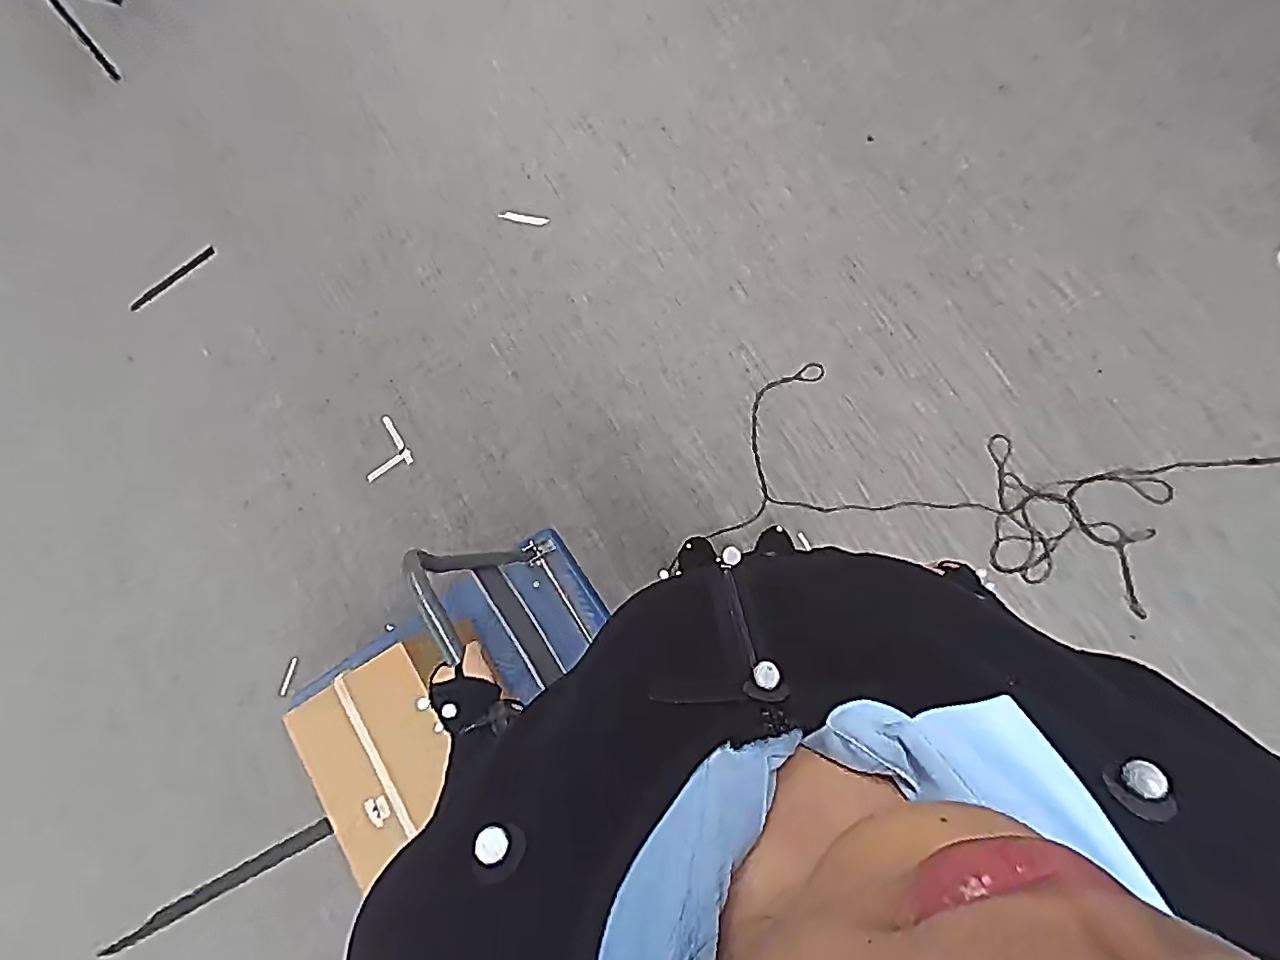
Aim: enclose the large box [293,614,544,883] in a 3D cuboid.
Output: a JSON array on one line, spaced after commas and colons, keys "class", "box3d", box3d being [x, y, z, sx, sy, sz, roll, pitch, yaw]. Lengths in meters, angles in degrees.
[{"class": "large box", "box3d": [-0.485, 0.578, 1.250, 0.320, 0.320, 0.408, -33, 82, 5]}]
